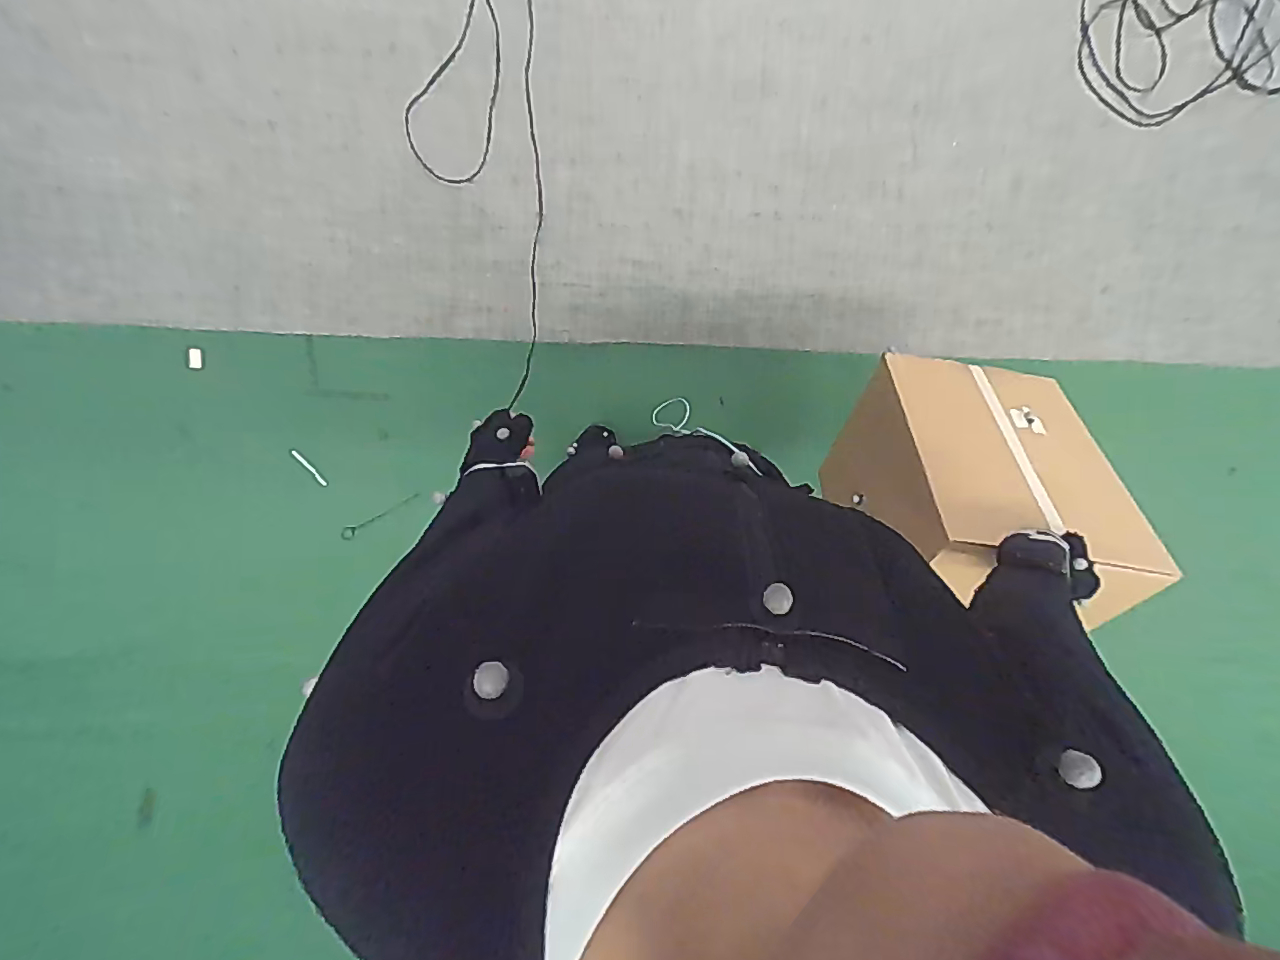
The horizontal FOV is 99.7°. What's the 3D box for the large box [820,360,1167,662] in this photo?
[{"bbox_3d":[0.538,0.054,0.939,0.320,0.408,0.320,9,138,-3],"label":"large box"}]
